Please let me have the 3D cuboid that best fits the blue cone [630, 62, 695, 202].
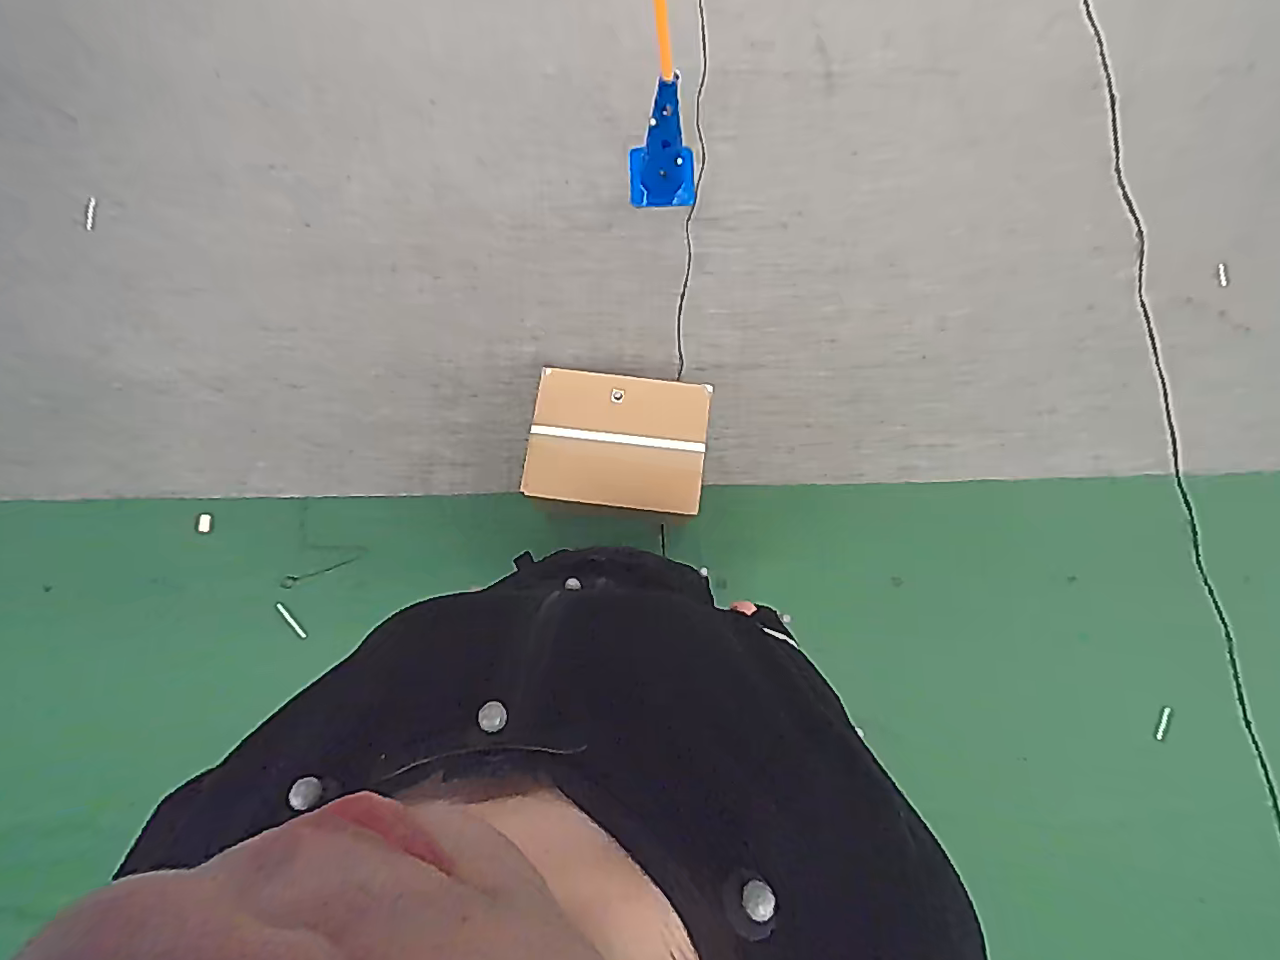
[{"bbox_3d":[0.068,-0.963,1.492,0.193,0.380,0.192,-4,82,0],"label":"blue cone"}]
